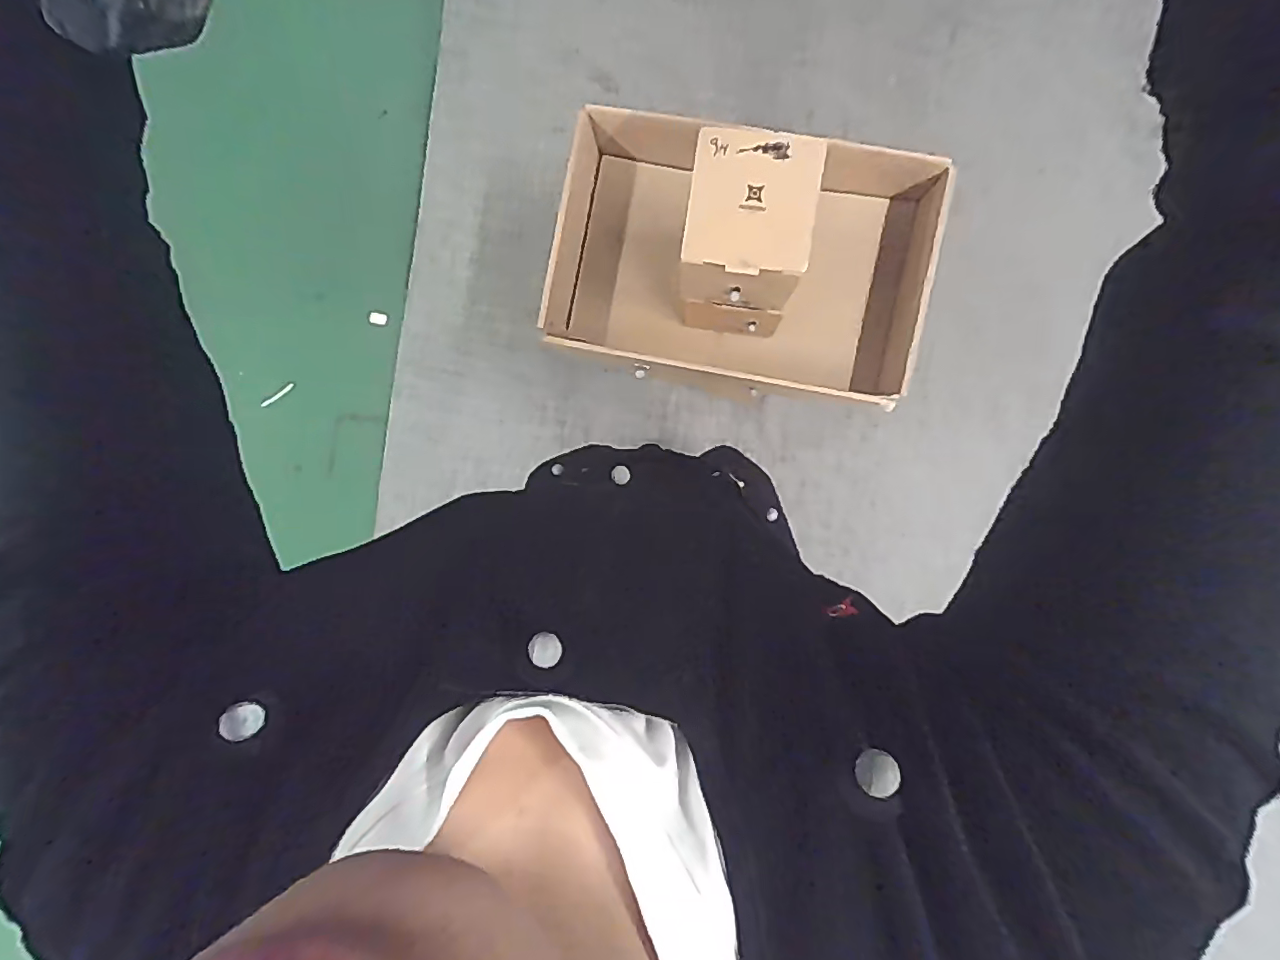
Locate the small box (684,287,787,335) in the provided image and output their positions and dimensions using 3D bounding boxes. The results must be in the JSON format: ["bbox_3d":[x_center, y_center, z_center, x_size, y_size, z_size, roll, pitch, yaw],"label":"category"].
[{"bbox_3d":[0.172,-0.364,0.942,0.168,0.176,0.179,9,91,4],"label":"small box"}]

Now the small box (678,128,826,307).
[{"bbox_3d":[0.152,-0.363,0.780,0.168,0.176,0.179,10,94,4],"label":"small box"}]
